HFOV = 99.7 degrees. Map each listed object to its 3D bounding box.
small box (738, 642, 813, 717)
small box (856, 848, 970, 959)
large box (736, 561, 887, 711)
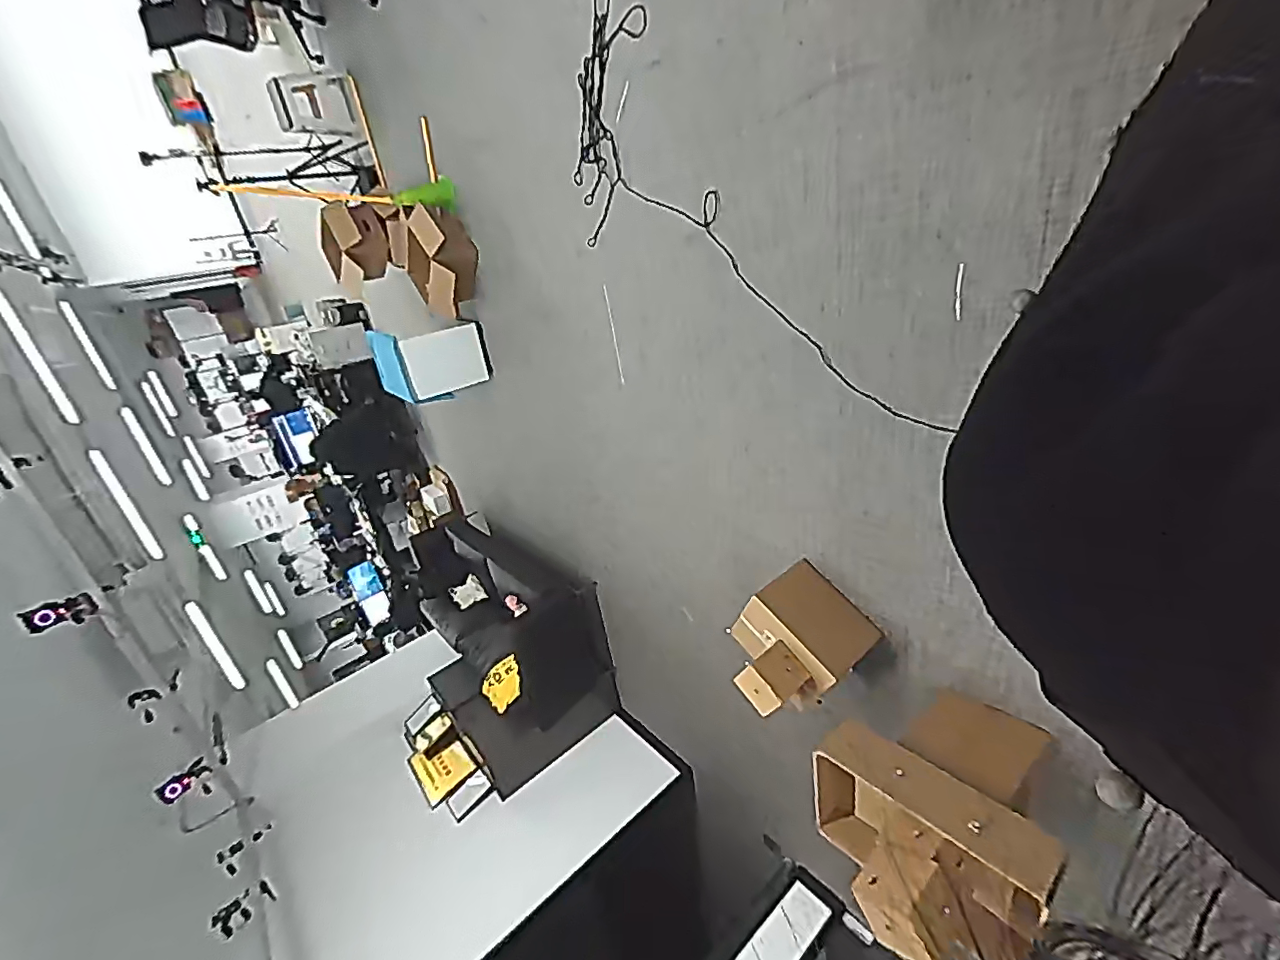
[{"bbox_3d":[0.495,0.724,1.965,0.168,0.176,0.179,49,146,23],"label":"small box"},{"bbox_3d":[0.709,1.106,1.406,0.179,0.176,0.168,-28,89,57],"label":"small box"},{"bbox_3d":[0.656,0.599,2.105,0.408,0.320,0.320,47,145,27],"label":"large box"}]
